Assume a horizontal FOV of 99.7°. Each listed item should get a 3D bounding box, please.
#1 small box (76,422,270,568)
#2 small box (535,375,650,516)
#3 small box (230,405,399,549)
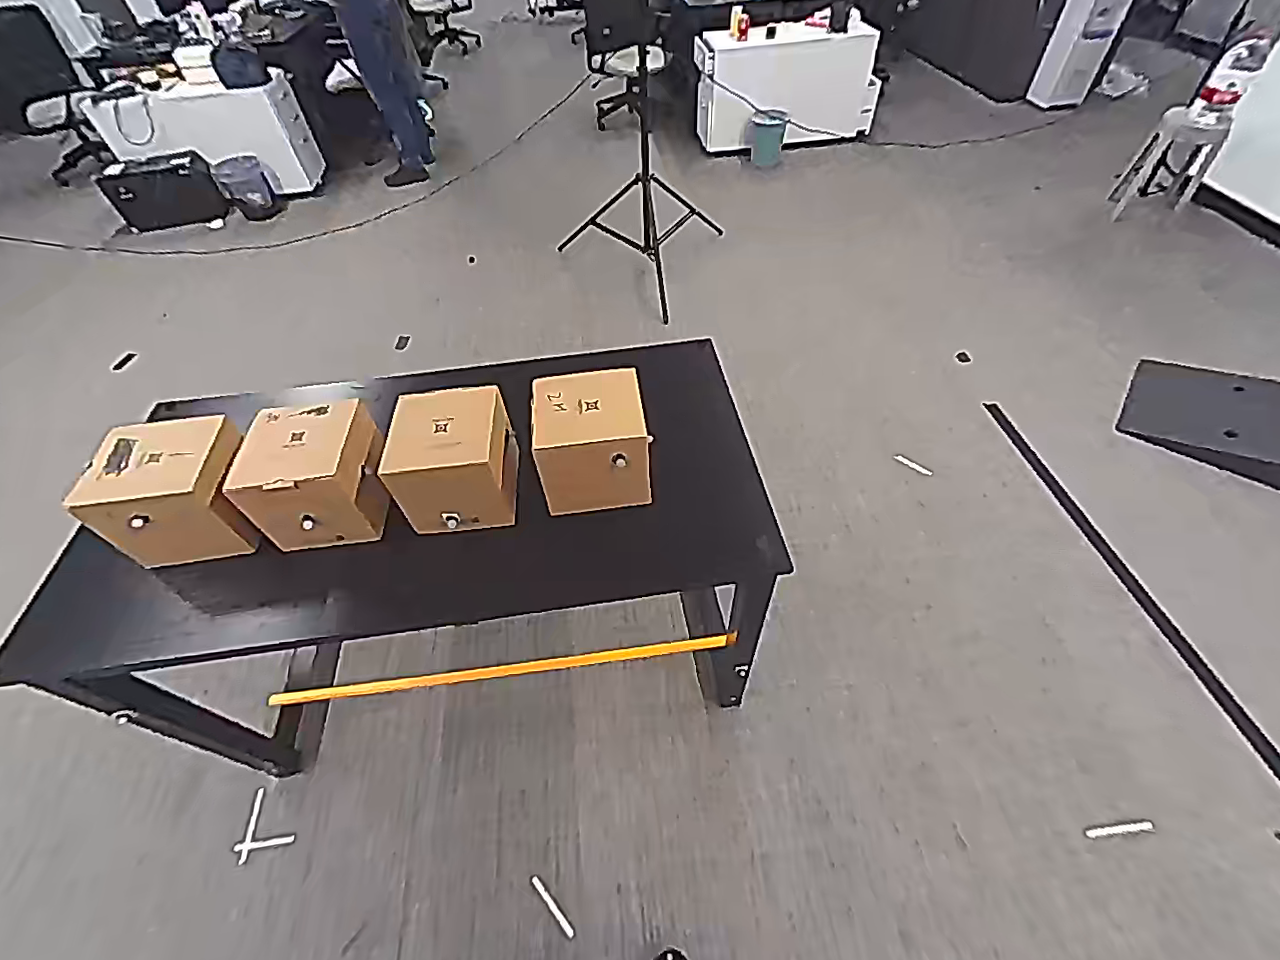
[{"bbox_3d":[-0.739,0.029,0.897,0.179,0.176,0.168,-8,50,-5],"label":"small box"},{"bbox_3d":[-0.078,-0.056,0.926,0.179,0.176,0.168,-7,50,-2],"label":"small box"},{"bbox_3d":[-0.526,0.002,0.908,0.168,0.176,0.179,-7,51,-2],"label":"small box"}]
